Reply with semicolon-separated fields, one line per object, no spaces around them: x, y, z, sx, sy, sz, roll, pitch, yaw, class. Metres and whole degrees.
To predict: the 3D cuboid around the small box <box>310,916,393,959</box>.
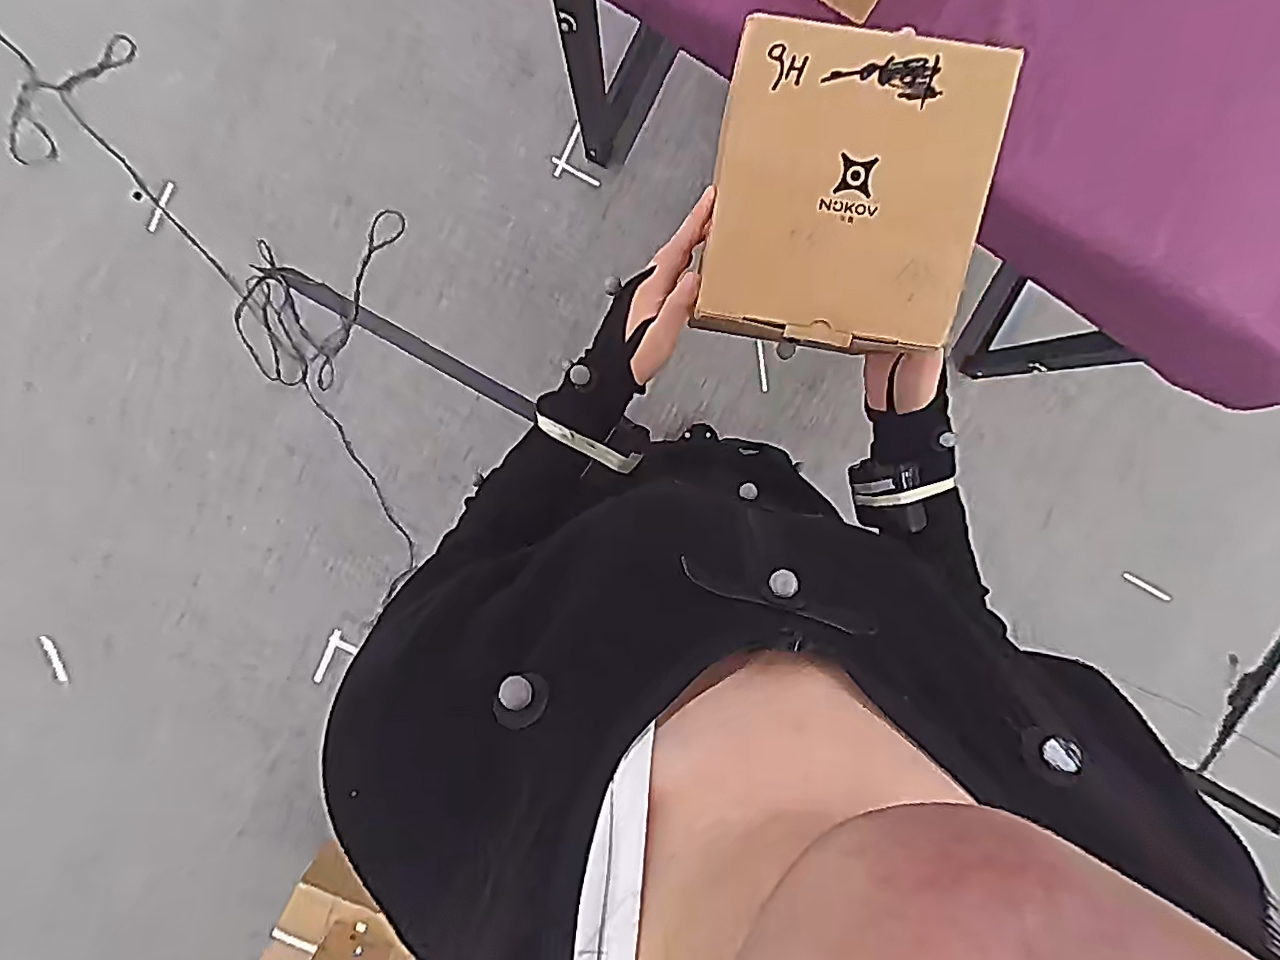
-0.714;1.196;1.271;0.168;0.176;0.179;25;96;-4;small box

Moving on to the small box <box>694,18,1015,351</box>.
0.137;-0.202;0.422;0.168;0.176;0.179;9;104;1;small box
